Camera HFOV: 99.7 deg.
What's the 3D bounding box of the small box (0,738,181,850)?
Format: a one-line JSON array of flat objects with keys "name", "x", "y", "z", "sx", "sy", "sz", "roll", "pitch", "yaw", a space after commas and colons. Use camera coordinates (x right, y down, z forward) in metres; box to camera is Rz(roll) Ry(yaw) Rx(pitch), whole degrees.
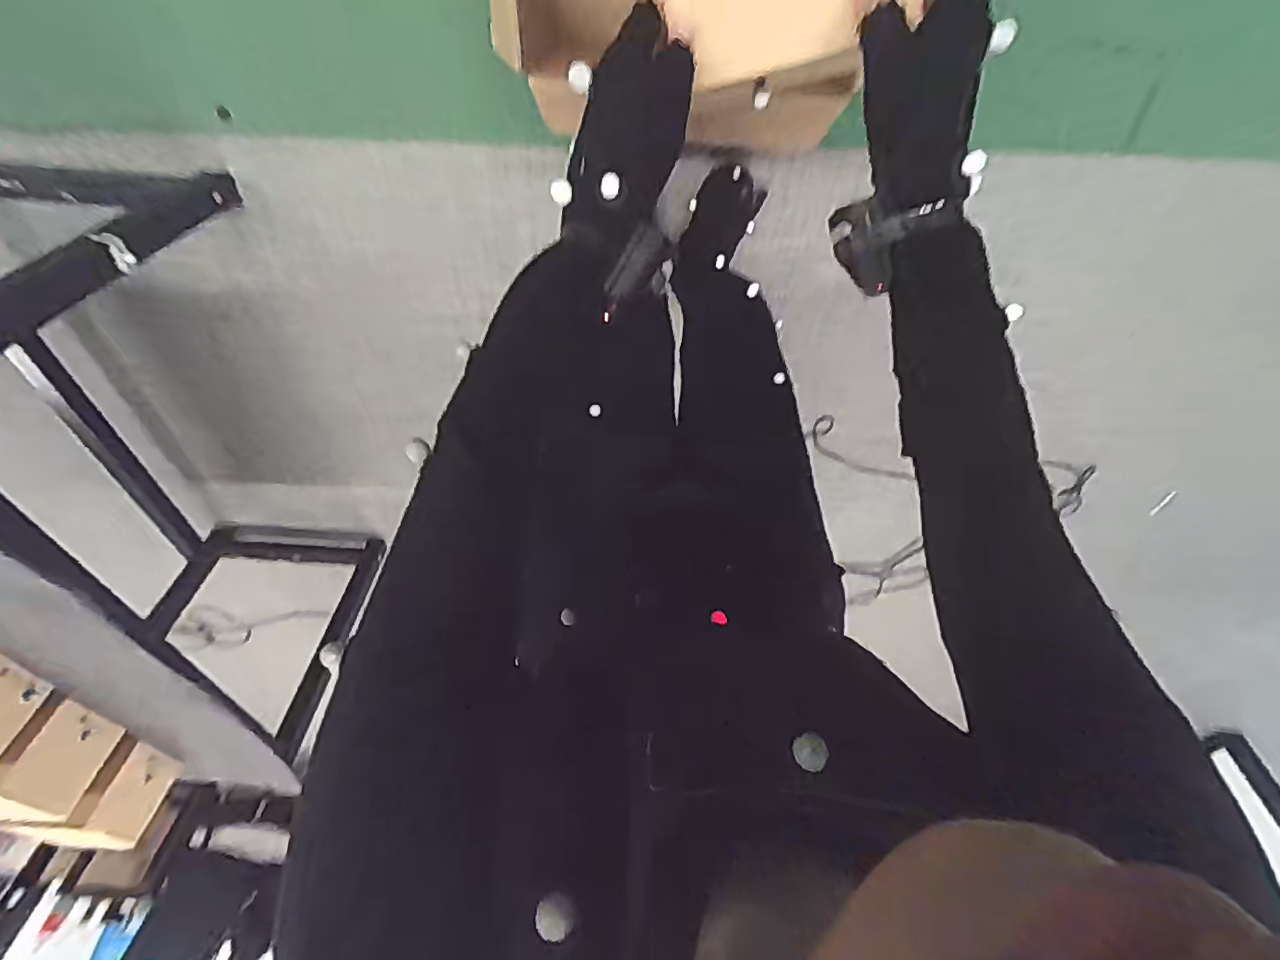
[{"name": "small box", "x": -1.151, "y": 0.665, "z": 1.151, "sx": 0.179, "sy": 0.176, "sz": 0.168, "roll": 3, "pitch": 135, "yaw": 0}]
